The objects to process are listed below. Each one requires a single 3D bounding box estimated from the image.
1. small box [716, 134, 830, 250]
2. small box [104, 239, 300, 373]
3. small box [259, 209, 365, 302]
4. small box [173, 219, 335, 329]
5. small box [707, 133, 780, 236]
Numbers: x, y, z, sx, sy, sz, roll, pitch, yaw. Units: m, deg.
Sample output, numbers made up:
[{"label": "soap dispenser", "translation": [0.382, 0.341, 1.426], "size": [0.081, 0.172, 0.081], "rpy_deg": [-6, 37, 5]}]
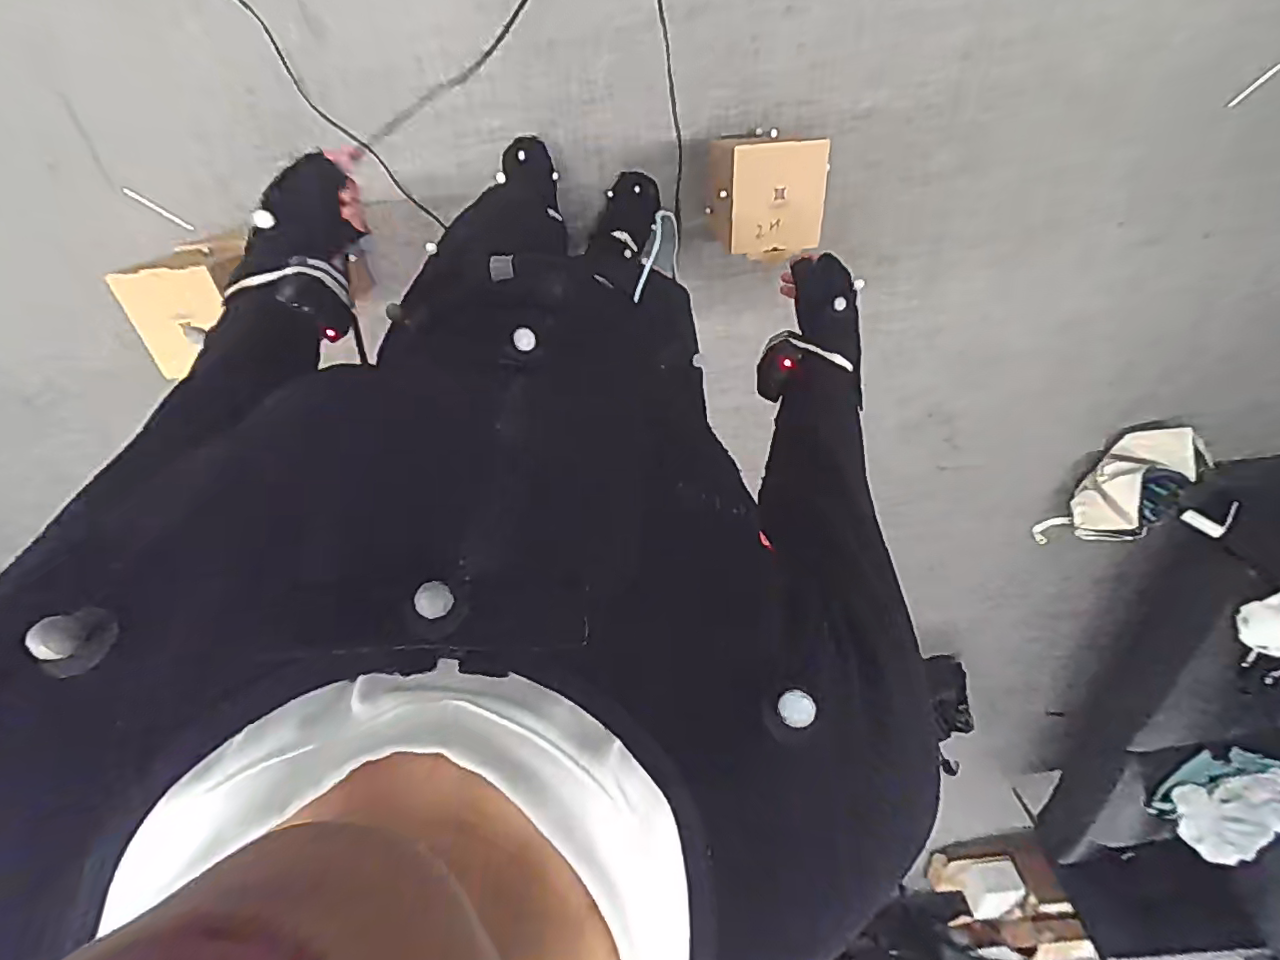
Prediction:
[{"label": "small box", "translation": [0.239, -0.547, 1.019], "size": [0.168, 0.176, 0.179], "rpy_deg": [-4, 125, 0]}, {"label": "small box", "translation": [-0.737, -0.305, 0.940], "size": [0.168, 0.176, 0.179], "rpy_deg": [-4, 124, 1]}, {"label": "small box", "translation": [-0.741, -0.498, 1.204], "size": [0.179, 0.176, 0.168], "rpy_deg": [-5, 124, 1]}, {"label": "small box", "translation": [-0.743, -0.404, 1.068], "size": [0.168, 0.176, 0.179], "rpy_deg": [-4, 124, 1]}, {"label": "small box", "translation": [0.236, -0.627, 1.143], "size": [0.168, 0.176, 0.179], "rpy_deg": [-2, 125, -2]}]
